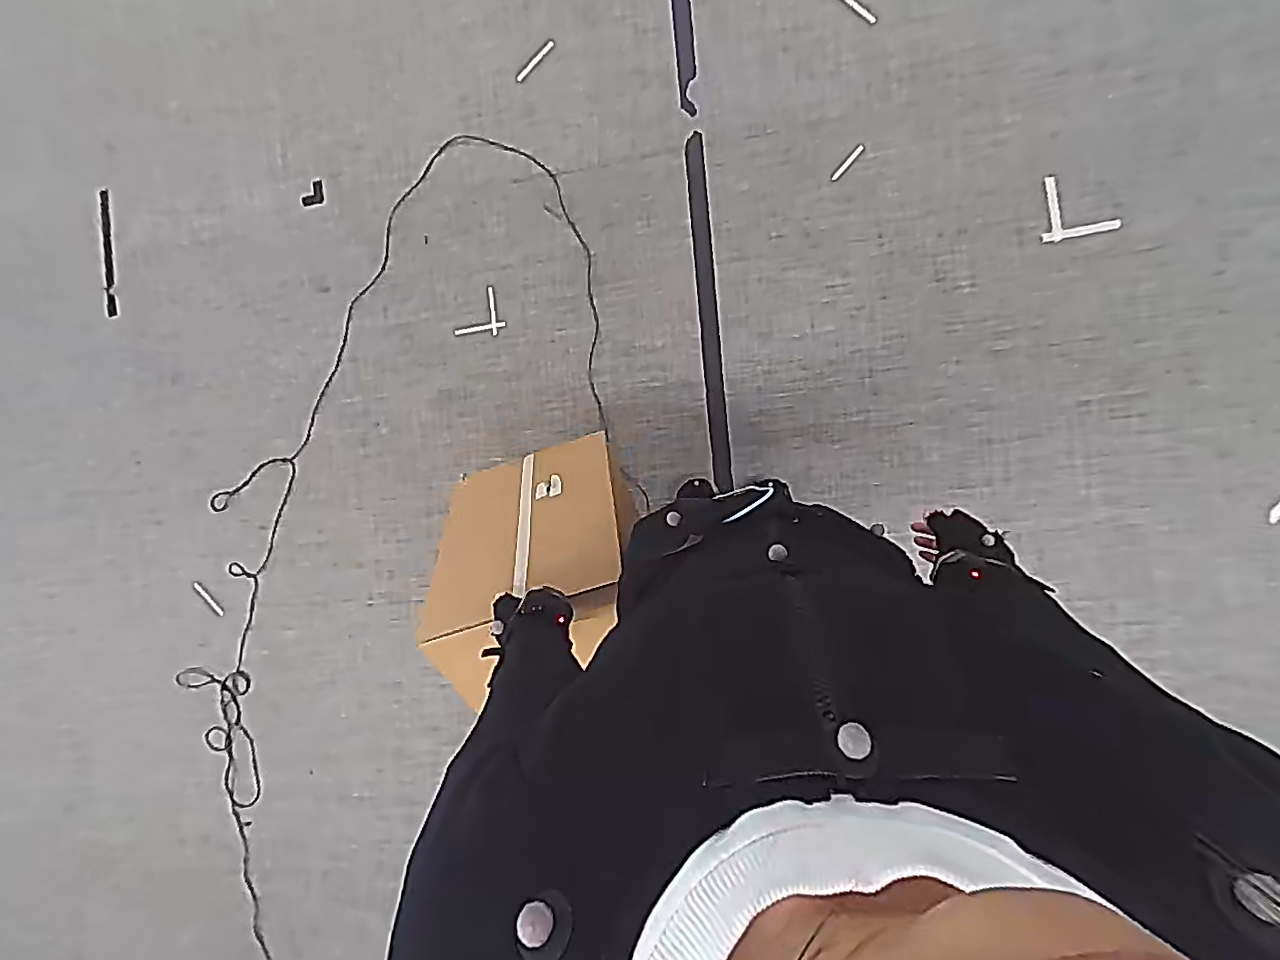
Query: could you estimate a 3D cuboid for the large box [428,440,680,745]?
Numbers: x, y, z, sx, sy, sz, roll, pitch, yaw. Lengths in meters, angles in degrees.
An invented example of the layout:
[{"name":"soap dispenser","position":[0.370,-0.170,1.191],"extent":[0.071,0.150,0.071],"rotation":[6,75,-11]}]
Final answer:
[{"name":"large box","position":[-0.142,0.193,1.003],"extent":[0.320,0.408,0.320],"rotation":[-18,125,4]}]
